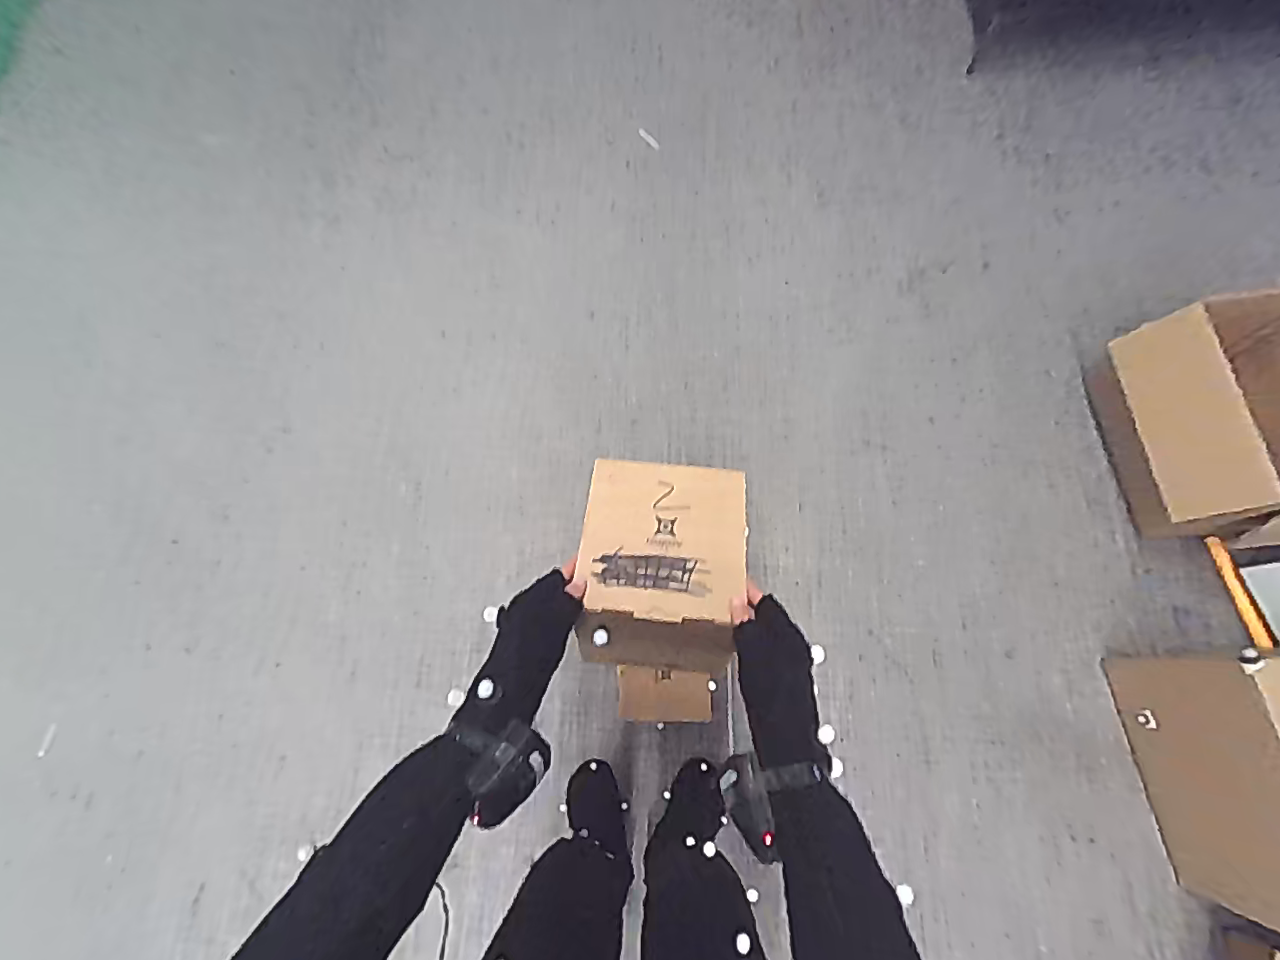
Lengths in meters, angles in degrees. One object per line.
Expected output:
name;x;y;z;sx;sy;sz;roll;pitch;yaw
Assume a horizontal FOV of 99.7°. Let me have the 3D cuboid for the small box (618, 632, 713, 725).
small box;0.052;0.397;1.094;0.179;0.176;0.168;-1;71;4
